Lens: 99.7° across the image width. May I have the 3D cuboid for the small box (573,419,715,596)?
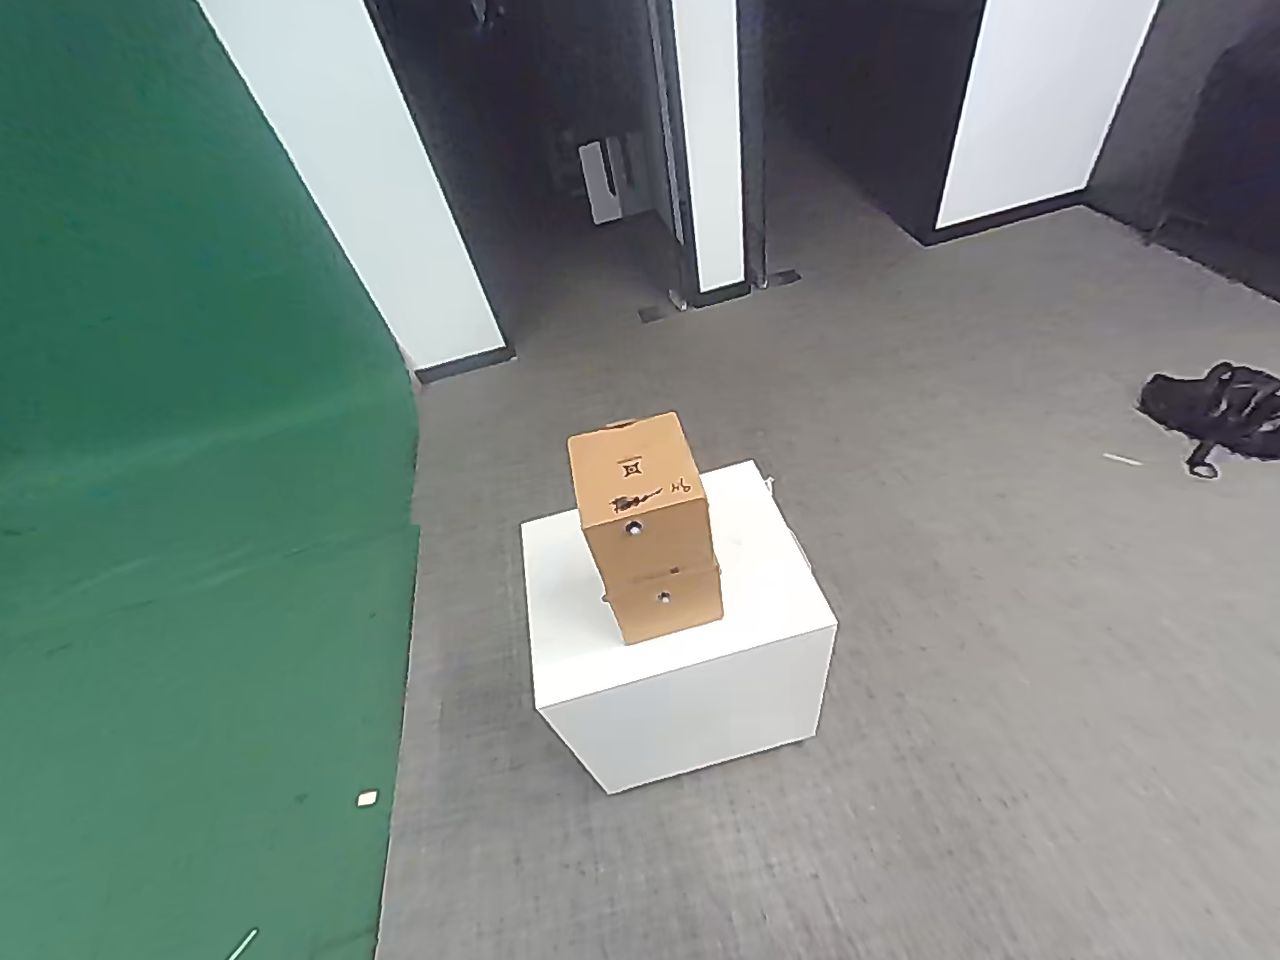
[{"bbox_3d":[0.007,0.041,0.805,0.168,0.176,0.179,-16,47,-3],"label":"small box"}]

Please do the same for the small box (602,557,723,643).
[{"bbox_3d":[0.033,0.153,0.919,0.179,0.176,0.168,-15,46,-2],"label":"small box"}]
